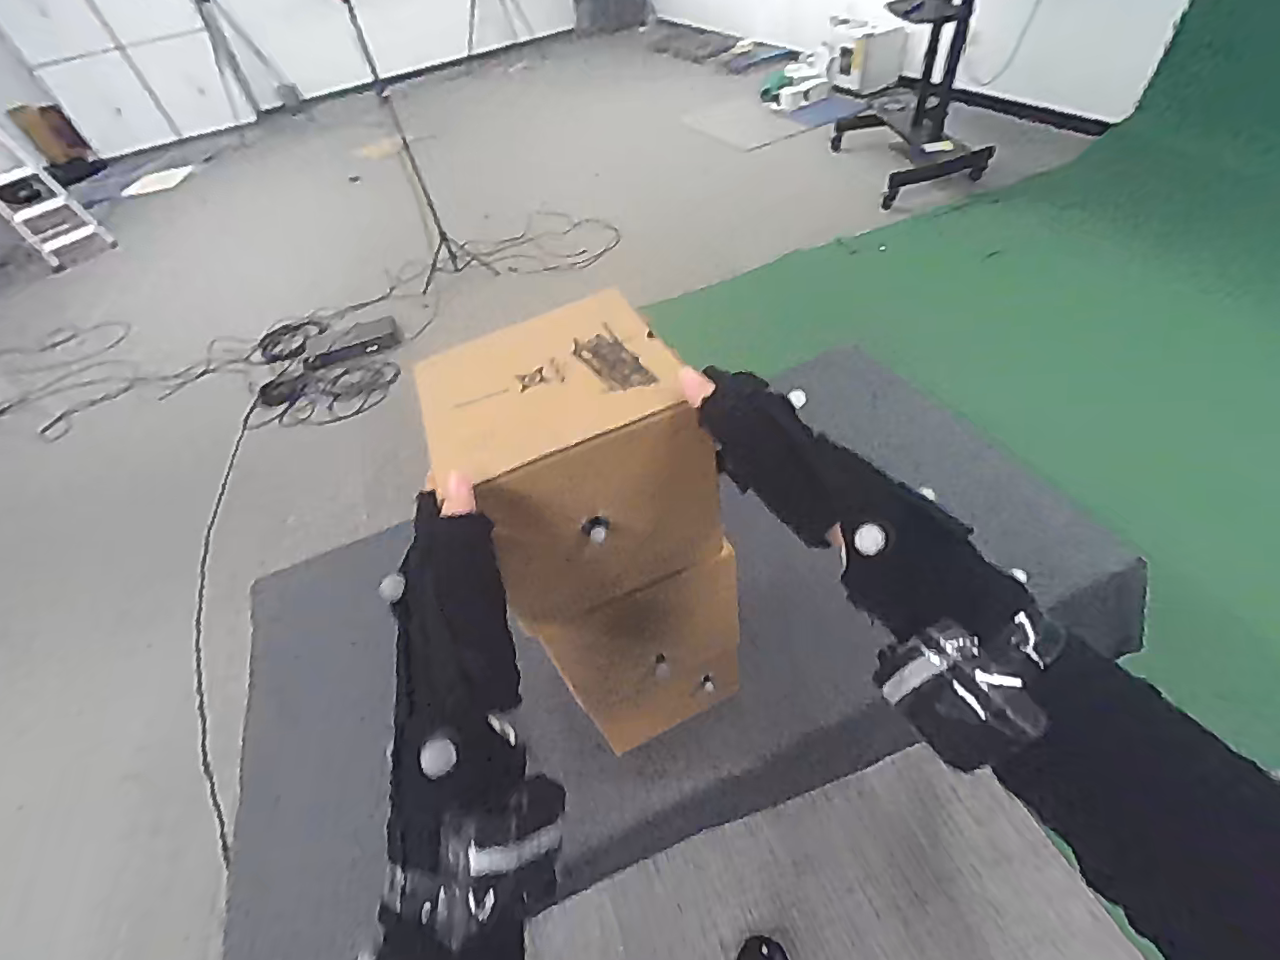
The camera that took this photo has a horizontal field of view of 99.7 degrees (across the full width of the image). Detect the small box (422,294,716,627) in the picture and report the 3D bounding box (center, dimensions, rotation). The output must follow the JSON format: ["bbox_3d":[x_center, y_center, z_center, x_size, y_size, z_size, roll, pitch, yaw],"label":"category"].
[{"bbox_3d":[-0.049,-0.015,0.436,0.179,0.176,0.168,-23,46,-8],"label":"small box"}]

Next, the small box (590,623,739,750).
[{"bbox_3d":[0.009,0.202,0.678,0.179,0.176,0.168,-25,47,-9],"label":"small box"}]

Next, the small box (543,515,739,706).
[{"bbox_3d":[-0.013,0.097,0.554,0.179,0.176,0.168,-21,46,-9],"label":"small box"}]
